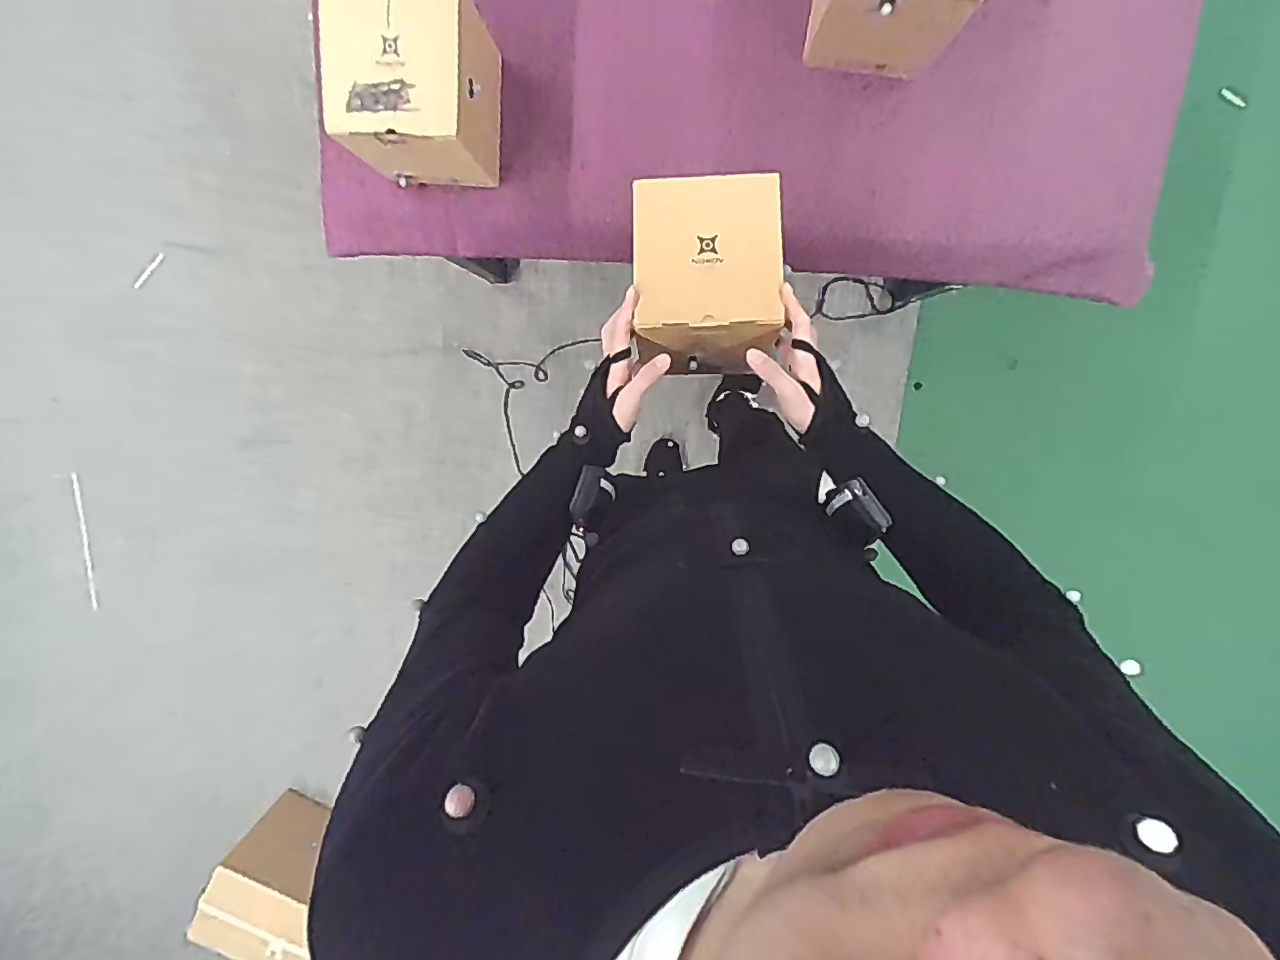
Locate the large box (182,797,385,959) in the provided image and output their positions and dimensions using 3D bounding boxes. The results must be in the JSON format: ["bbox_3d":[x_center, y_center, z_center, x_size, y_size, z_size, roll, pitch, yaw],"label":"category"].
[{"bbox_3d":[-1.140,1.337,1.767,0.408,0.320,0.320,28,101,-4],"label":"large box"}]

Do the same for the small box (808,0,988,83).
[{"bbox_3d":[0.317,-0.632,0.657,0.168,0.176,0.179,9,100,2],"label":"small box"}]

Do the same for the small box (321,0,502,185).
[{"bbox_3d":[-0.284,-0.508,0.706,0.168,0.176,0.179,4,100,1],"label":"small box"}]

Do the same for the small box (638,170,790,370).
[{"bbox_3d":[0.082,-0.248,0.671,0.168,0.176,0.179,-1,84,3],"label":"small box"}]
